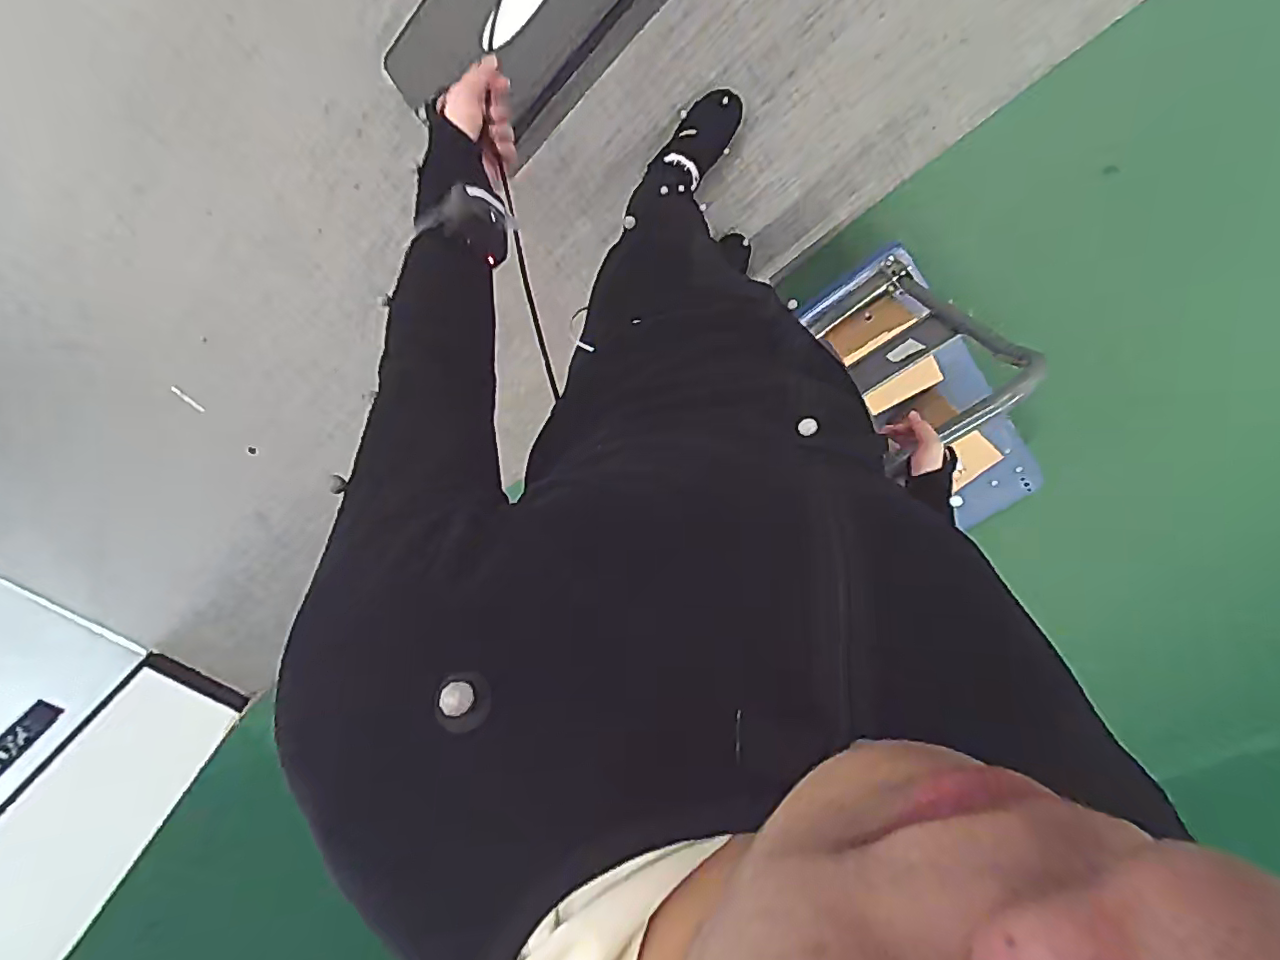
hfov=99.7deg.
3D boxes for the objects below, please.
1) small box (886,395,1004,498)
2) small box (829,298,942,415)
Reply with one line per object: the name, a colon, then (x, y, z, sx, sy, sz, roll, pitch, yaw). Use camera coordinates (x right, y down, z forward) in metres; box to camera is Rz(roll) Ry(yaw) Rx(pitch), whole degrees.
small box: (0.763, -0.093, 1.374, 0.179, 0.176, 0.168, 35, 120, -18)
small box: (0.563, -0.290, 1.256, 0.168, 0.176, 0.179, -29, 117, 22)
